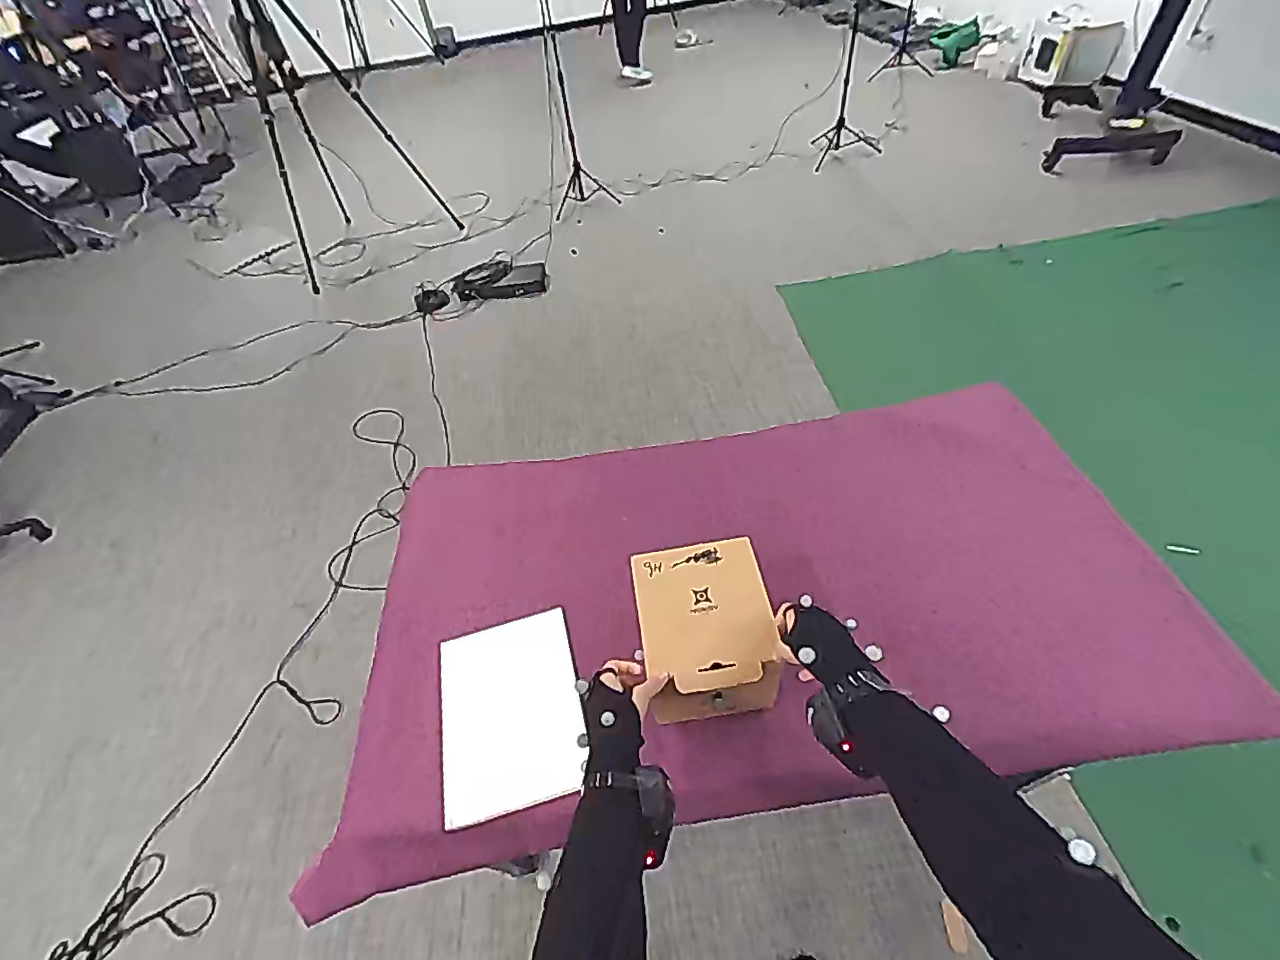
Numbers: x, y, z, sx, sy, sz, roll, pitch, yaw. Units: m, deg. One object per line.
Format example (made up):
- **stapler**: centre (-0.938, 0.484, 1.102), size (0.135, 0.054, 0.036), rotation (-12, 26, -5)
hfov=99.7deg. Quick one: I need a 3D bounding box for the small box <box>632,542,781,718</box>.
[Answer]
- **small box**: centre (0.086, 0.213, 0.744), size (0.168, 0.176, 0.179), rotation (-9, 49, 0)
